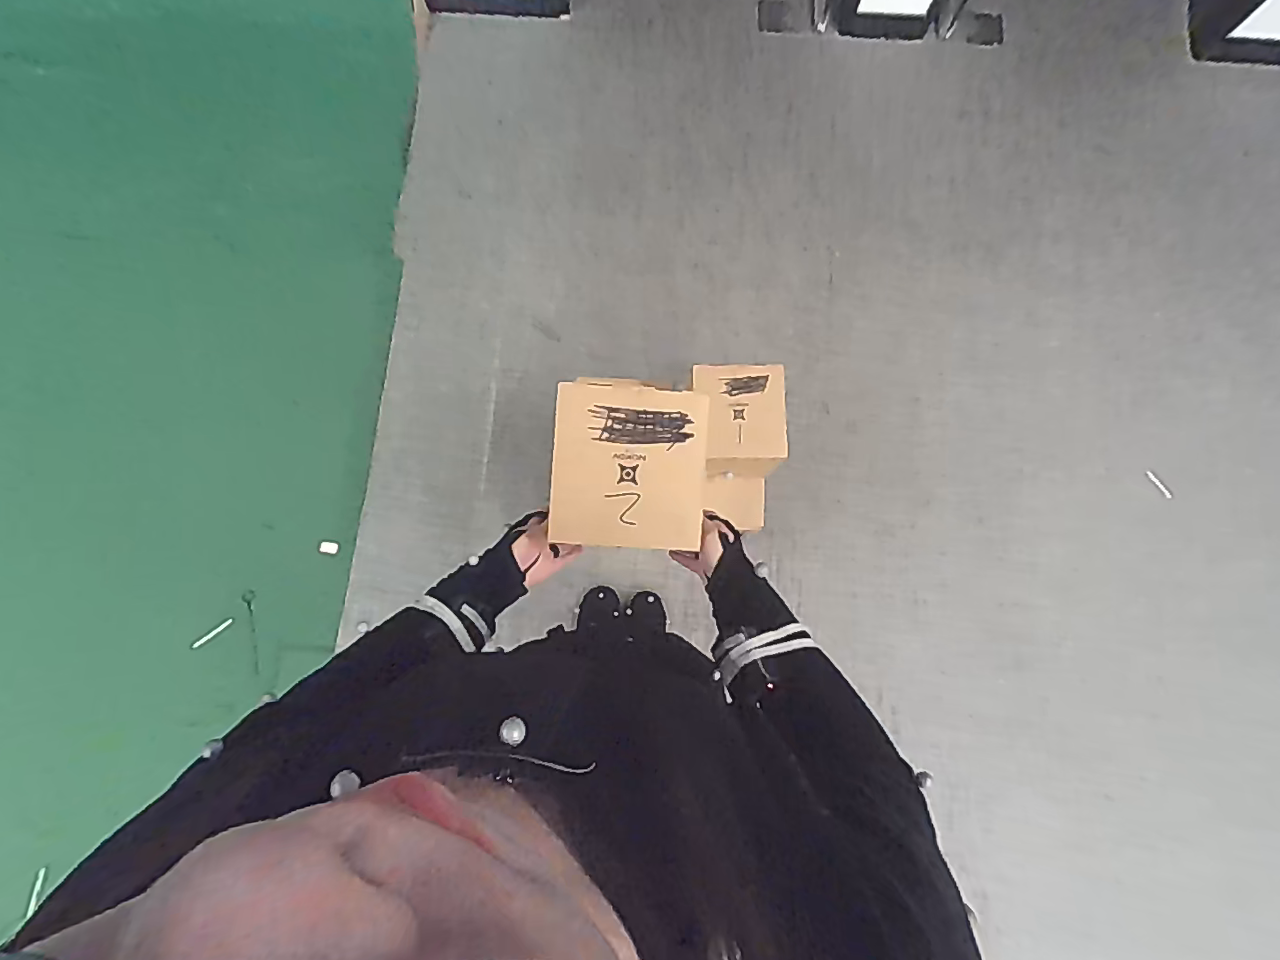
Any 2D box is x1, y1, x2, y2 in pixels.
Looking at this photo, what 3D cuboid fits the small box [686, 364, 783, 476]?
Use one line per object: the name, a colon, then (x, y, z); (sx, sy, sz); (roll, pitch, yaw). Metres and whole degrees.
small box: (0.175, -0.111, 1.047); (0.168, 0.176, 0.179); (1, 81, 2)
